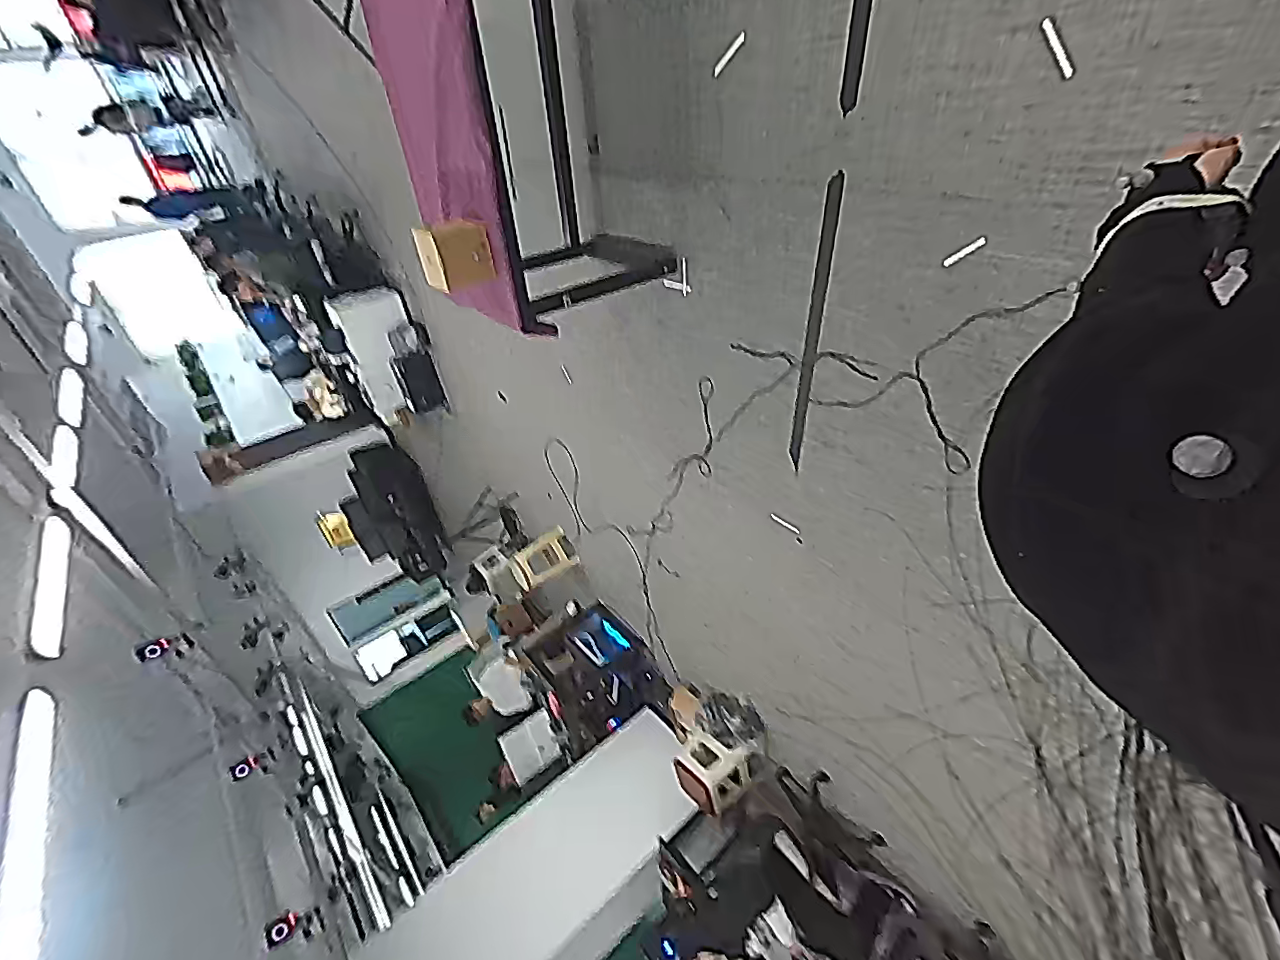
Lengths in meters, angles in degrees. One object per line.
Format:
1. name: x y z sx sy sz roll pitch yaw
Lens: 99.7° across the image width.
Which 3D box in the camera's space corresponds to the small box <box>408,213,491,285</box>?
1. small box: -0.588 -0.724 1.682 0.179 0.176 0.168 32 140 41
